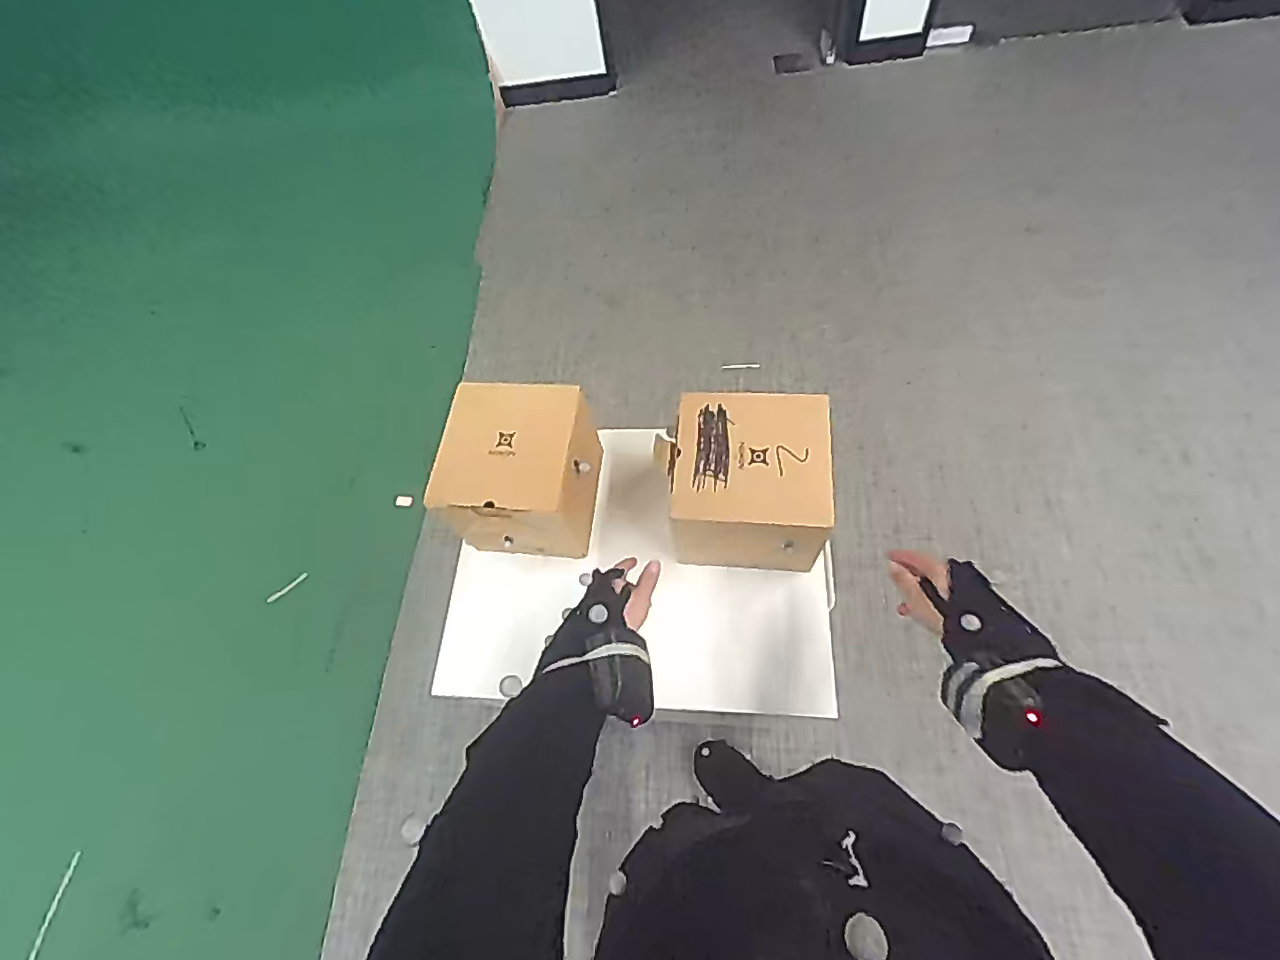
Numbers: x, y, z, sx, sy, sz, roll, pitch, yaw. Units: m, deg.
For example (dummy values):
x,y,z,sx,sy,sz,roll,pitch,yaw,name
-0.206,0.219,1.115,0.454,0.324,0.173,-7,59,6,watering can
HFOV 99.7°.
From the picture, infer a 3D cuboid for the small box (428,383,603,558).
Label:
x,y,z,sx,sy,sz,roll,pitch,yaw,name
-0.150,-0.008,0.726,0.168,0.176,0.179,3,65,9,small box
